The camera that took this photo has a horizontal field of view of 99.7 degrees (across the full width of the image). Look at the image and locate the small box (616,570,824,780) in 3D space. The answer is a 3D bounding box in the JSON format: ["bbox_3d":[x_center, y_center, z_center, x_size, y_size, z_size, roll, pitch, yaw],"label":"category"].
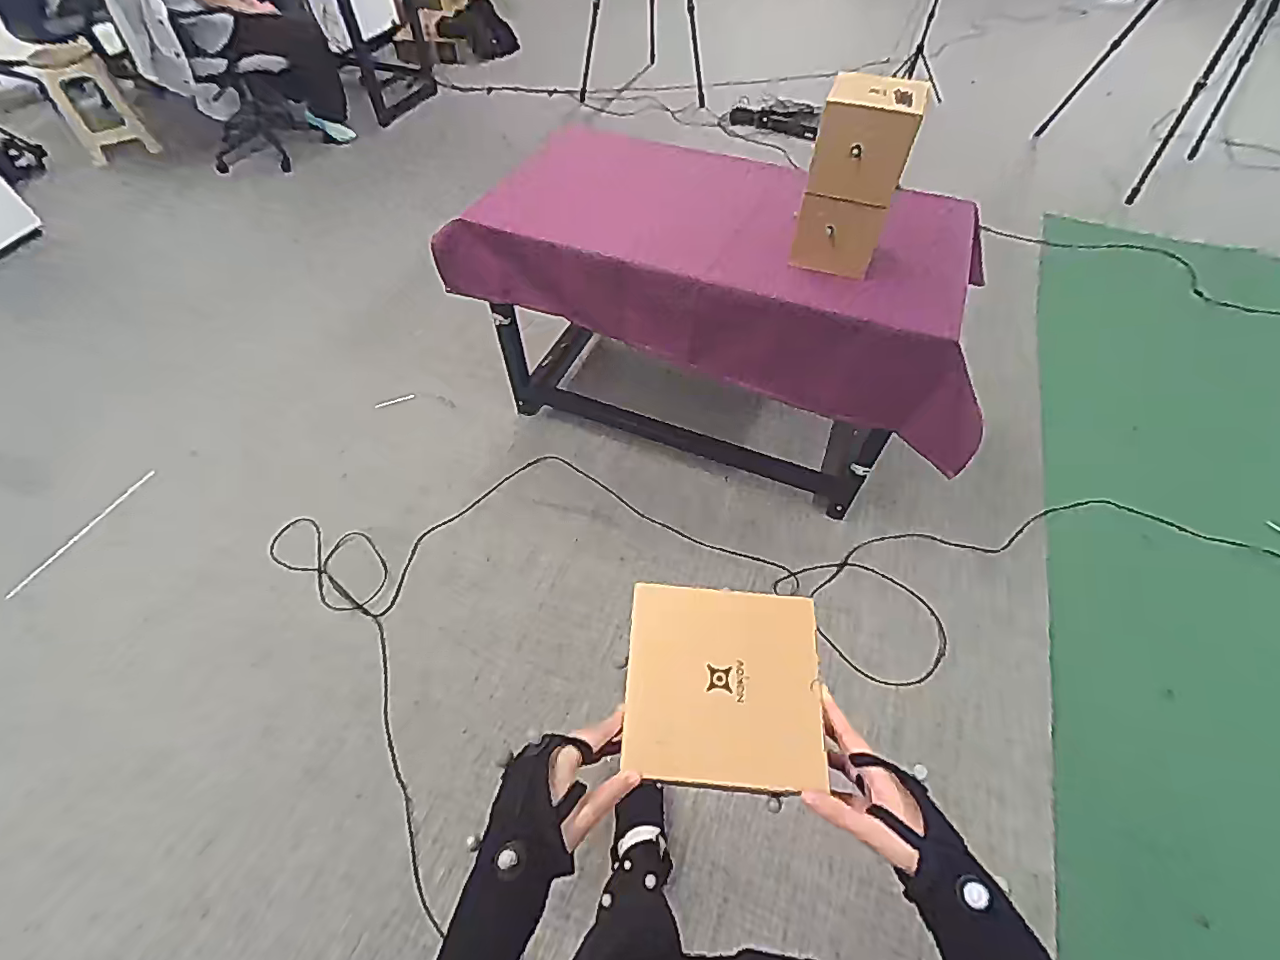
[{"bbox_3d":[0.070,0.206,0.554,0.179,0.176,0.168,6,59,0],"label":"small box"}]

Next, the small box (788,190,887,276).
[{"bbox_3d":[0.445,-0.585,1.221,0.179,0.176,0.168,16,56,12],"label":"small box"}]

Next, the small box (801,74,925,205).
[{"bbox_3d":[0.443,-0.680,1.087,0.179,0.176,0.168,17,55,13],"label":"small box"}]
